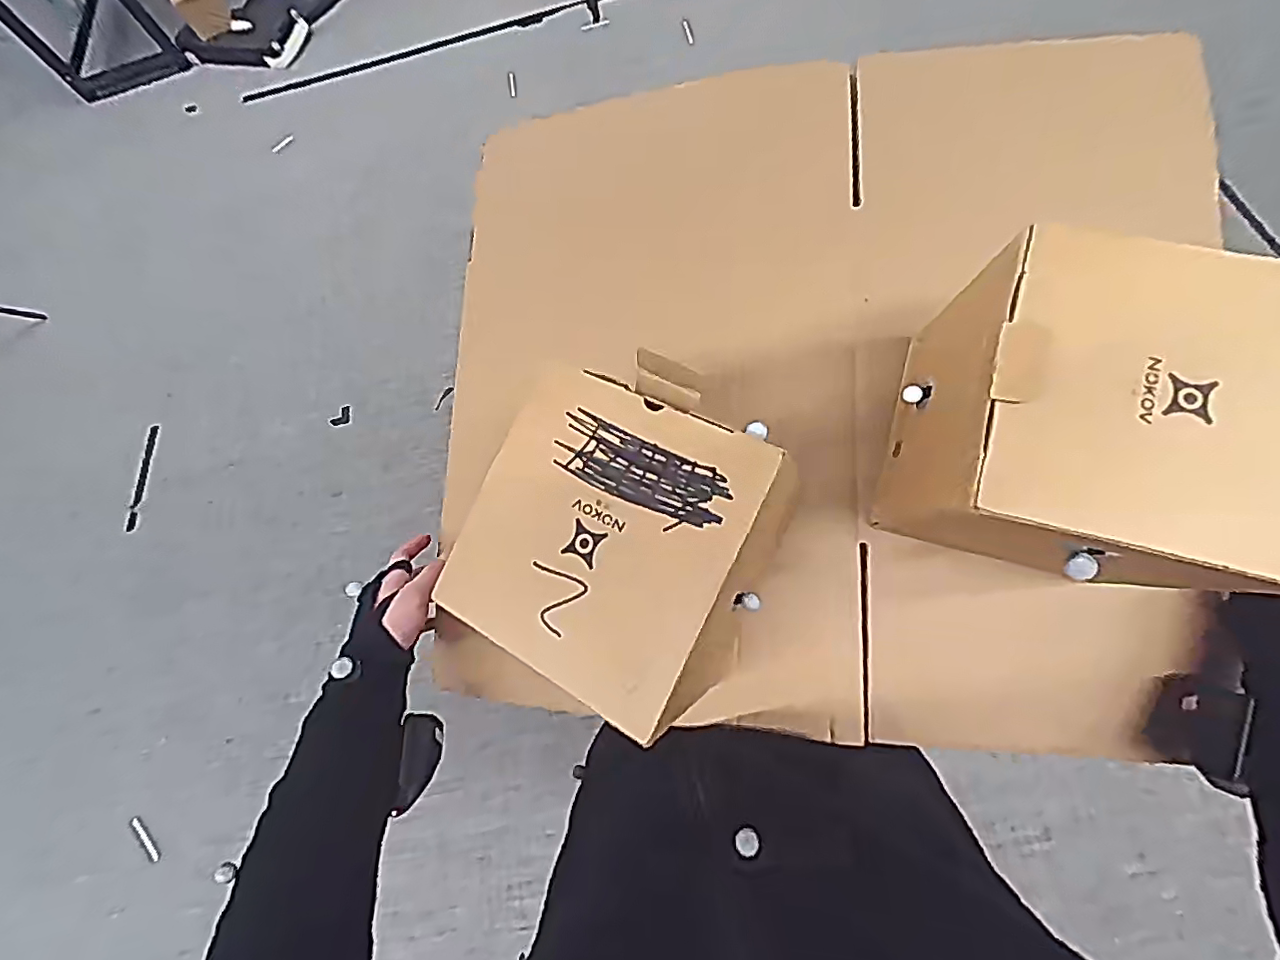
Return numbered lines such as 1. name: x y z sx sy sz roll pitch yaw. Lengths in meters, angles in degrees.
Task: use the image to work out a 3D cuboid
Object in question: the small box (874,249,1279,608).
1. small box: 0.286 -0.024 0.367 0.179 0.176 0.168 14 84 9
